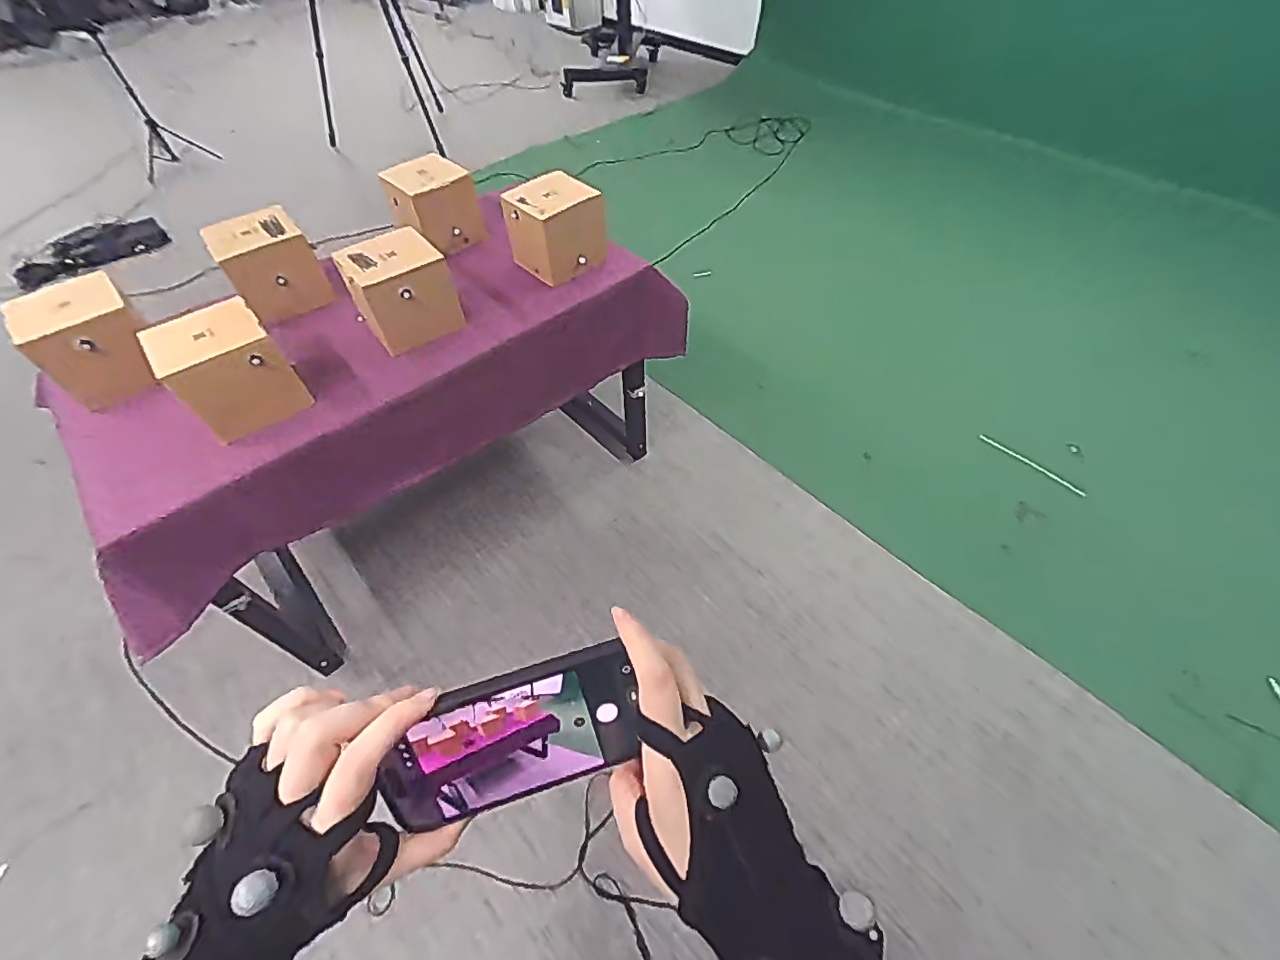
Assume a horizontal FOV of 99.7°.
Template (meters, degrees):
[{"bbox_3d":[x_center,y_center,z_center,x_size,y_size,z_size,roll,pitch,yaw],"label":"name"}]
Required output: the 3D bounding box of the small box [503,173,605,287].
[{"bbox_3d":[-0.199,-0.597,1.295,0.179,0.176,0.168,-37,60,-24],"label":"small box"}]

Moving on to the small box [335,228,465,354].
[{"bbox_3d":[-0.504,-0.400,1.154,0.179,0.176,0.168,-32,58,-22],"label":"small box"}]

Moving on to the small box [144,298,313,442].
[{"bbox_3d":[-0.758,-0.201,1.010,0.179,0.176,0.168,-34,59,-23],"label":"small box"}]

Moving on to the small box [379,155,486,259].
[{"bbox_3d":[-0.522,-0.690,1.375,0.168,0.176,0.179,-38,61,-24],"label":"small box"}]
